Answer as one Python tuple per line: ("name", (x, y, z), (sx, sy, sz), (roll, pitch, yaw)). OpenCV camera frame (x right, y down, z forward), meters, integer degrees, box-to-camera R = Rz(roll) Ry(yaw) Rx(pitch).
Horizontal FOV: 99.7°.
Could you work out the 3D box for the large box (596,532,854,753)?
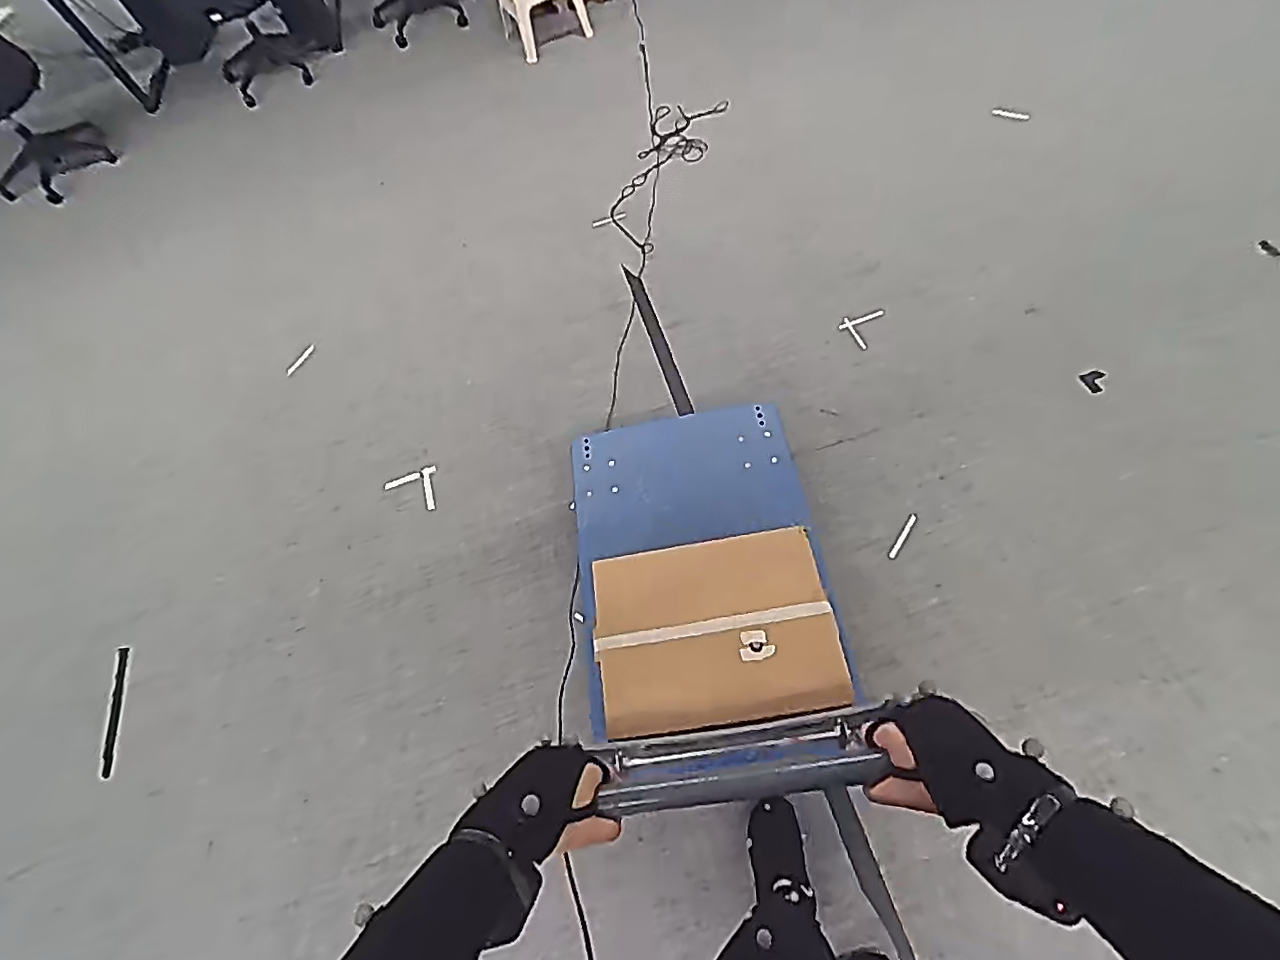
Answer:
("large box", (0.150, 0.338, 1.079), (0.408, 0.320, 0.320), (-11, 61, 3))
